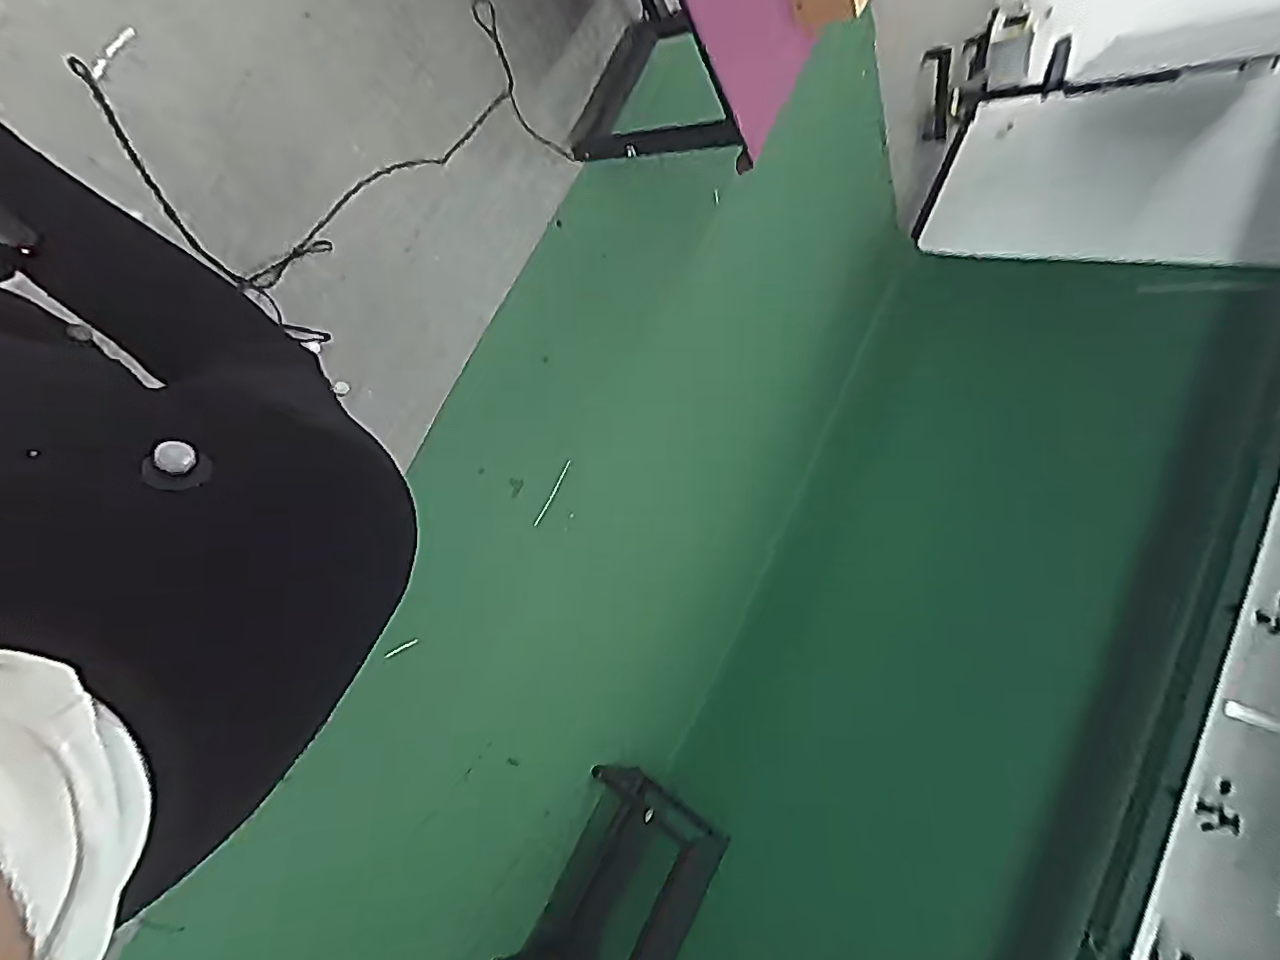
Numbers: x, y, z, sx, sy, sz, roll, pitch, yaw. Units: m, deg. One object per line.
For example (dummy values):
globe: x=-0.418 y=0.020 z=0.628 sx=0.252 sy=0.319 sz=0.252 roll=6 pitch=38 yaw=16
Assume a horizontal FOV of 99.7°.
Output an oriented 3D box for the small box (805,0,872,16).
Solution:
small box: x=0.521 y=-1.337 z=1.370 sx=0.168 sy=0.176 sz=0.179 roll=38 pitch=77 yaw=-51
